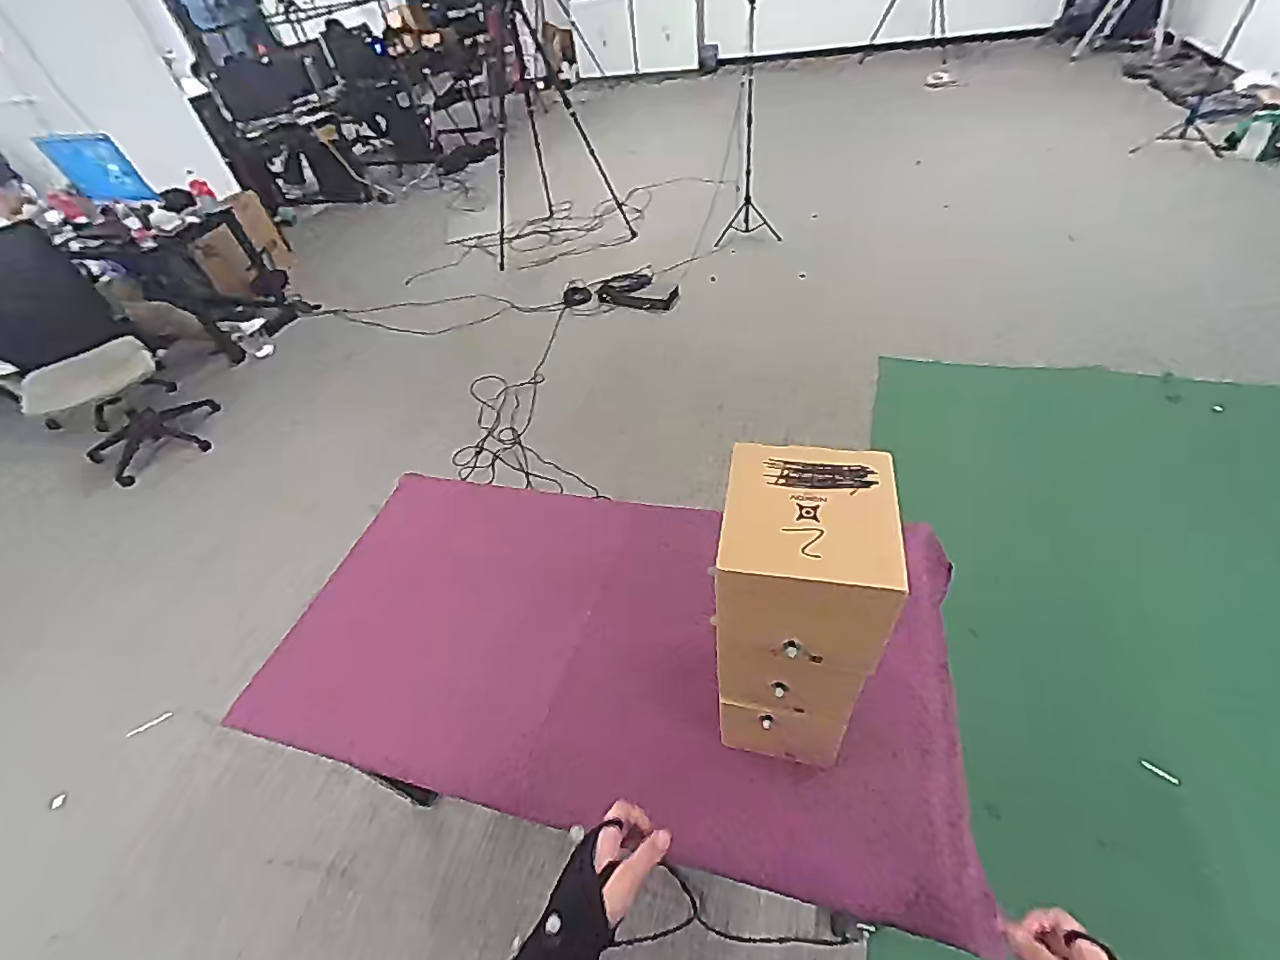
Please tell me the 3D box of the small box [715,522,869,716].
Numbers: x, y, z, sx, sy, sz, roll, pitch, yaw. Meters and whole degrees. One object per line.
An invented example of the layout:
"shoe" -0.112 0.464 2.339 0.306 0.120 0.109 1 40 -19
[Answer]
"small box" 0.199 0.183 0.708 0.168 0.176 0.179 7 48 16

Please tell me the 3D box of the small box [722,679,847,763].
"small box" 0.219 0.299 0.825 0.168 0.176 0.179 5 47 16
